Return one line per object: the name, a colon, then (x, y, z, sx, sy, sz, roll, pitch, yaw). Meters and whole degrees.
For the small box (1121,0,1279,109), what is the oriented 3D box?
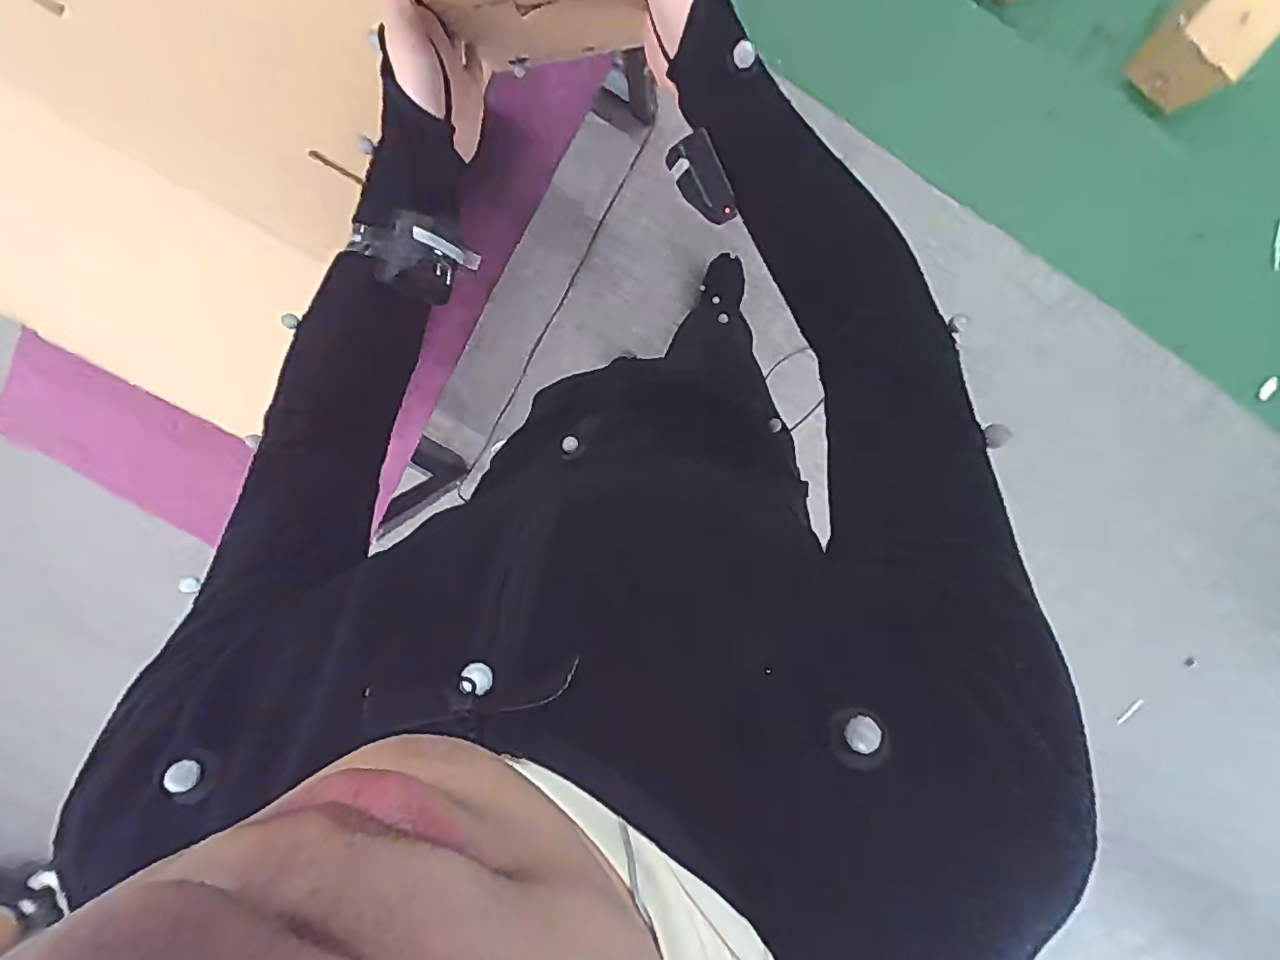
small box: (1.277, -1.007, 1.236, 0.168, 0.176, 0.179, 35, 104, -6)

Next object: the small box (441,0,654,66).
small box: (-0.077, -0.474, 0.448, 0.168, 0.176, 0.179, -6, 113, 4)
